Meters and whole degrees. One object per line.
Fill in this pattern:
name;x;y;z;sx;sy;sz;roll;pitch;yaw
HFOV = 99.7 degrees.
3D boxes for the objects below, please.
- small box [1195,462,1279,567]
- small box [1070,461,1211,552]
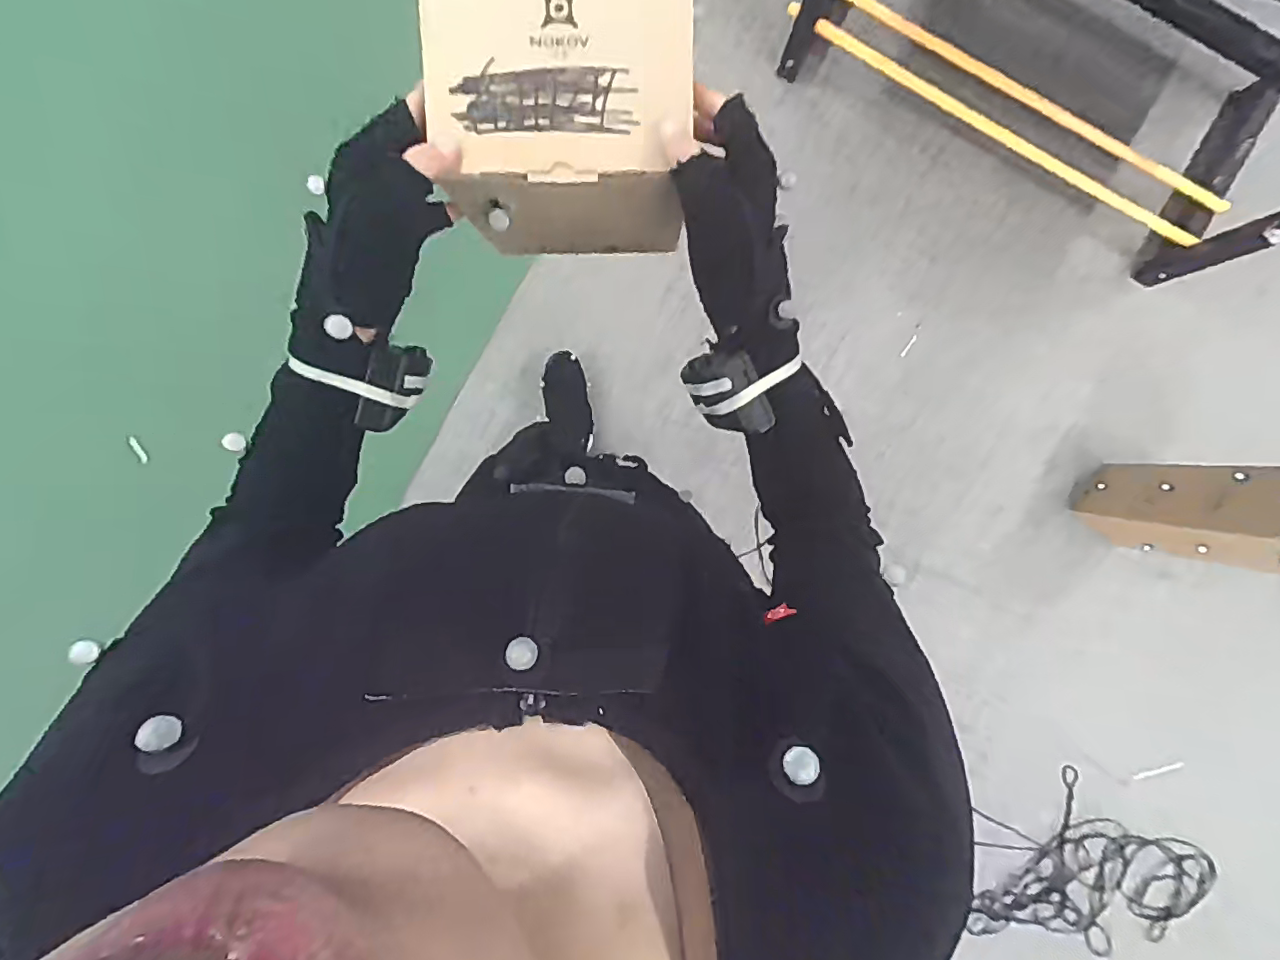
small box;1.302;0.074;1.087;0.179;0.176;0.168;32;93;-2
small box;1.300;0.061;1.414;0.179;0.176;0.168;34;91;-1
